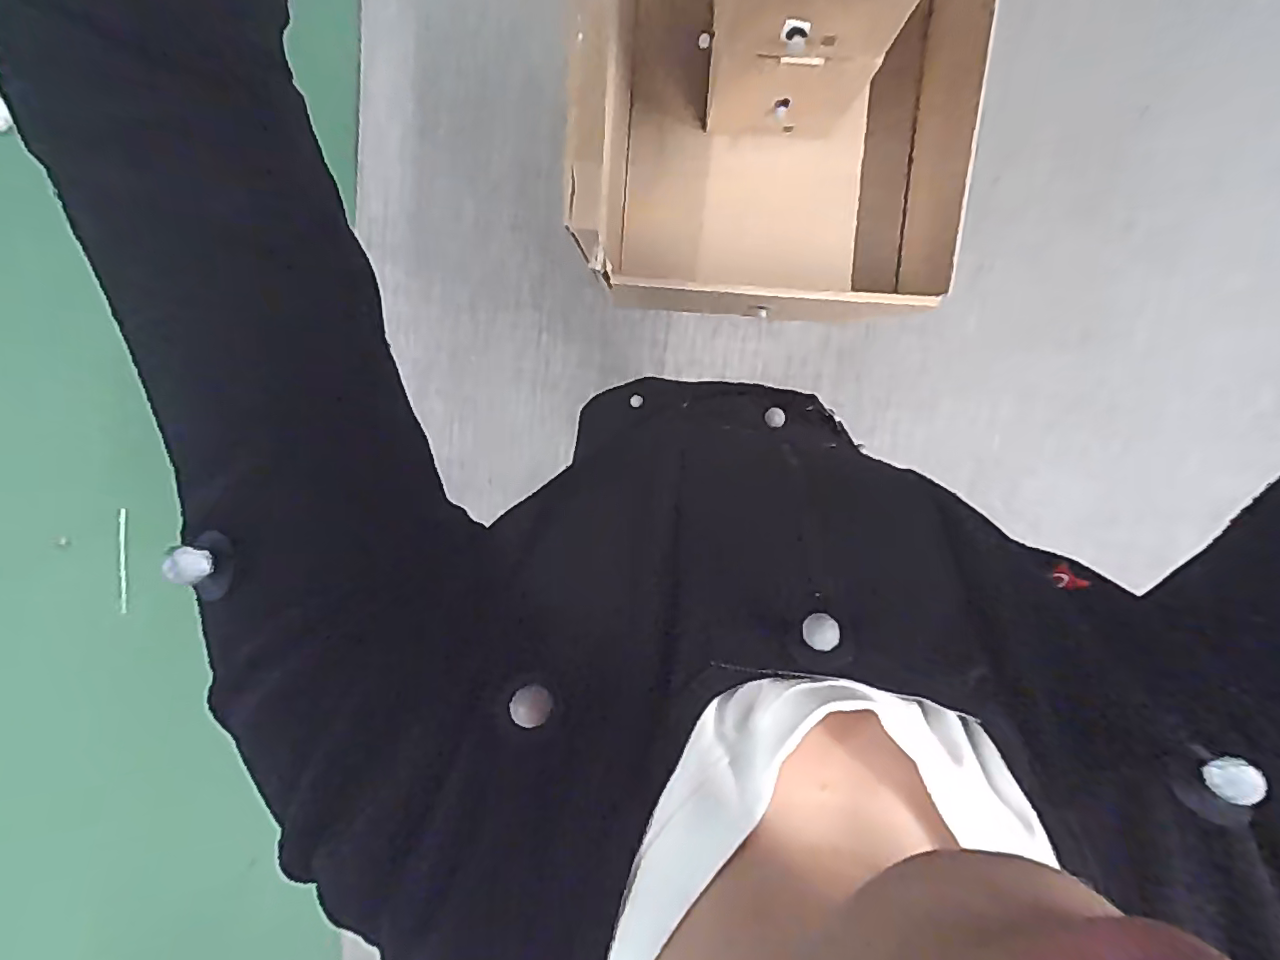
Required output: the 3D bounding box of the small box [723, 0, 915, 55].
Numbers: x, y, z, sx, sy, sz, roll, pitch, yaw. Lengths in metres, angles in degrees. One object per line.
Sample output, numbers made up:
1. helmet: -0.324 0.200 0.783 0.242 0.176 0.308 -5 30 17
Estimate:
1. small box: 0.162 -0.502 0.448 0.168 0.176 0.179 2 100 2
